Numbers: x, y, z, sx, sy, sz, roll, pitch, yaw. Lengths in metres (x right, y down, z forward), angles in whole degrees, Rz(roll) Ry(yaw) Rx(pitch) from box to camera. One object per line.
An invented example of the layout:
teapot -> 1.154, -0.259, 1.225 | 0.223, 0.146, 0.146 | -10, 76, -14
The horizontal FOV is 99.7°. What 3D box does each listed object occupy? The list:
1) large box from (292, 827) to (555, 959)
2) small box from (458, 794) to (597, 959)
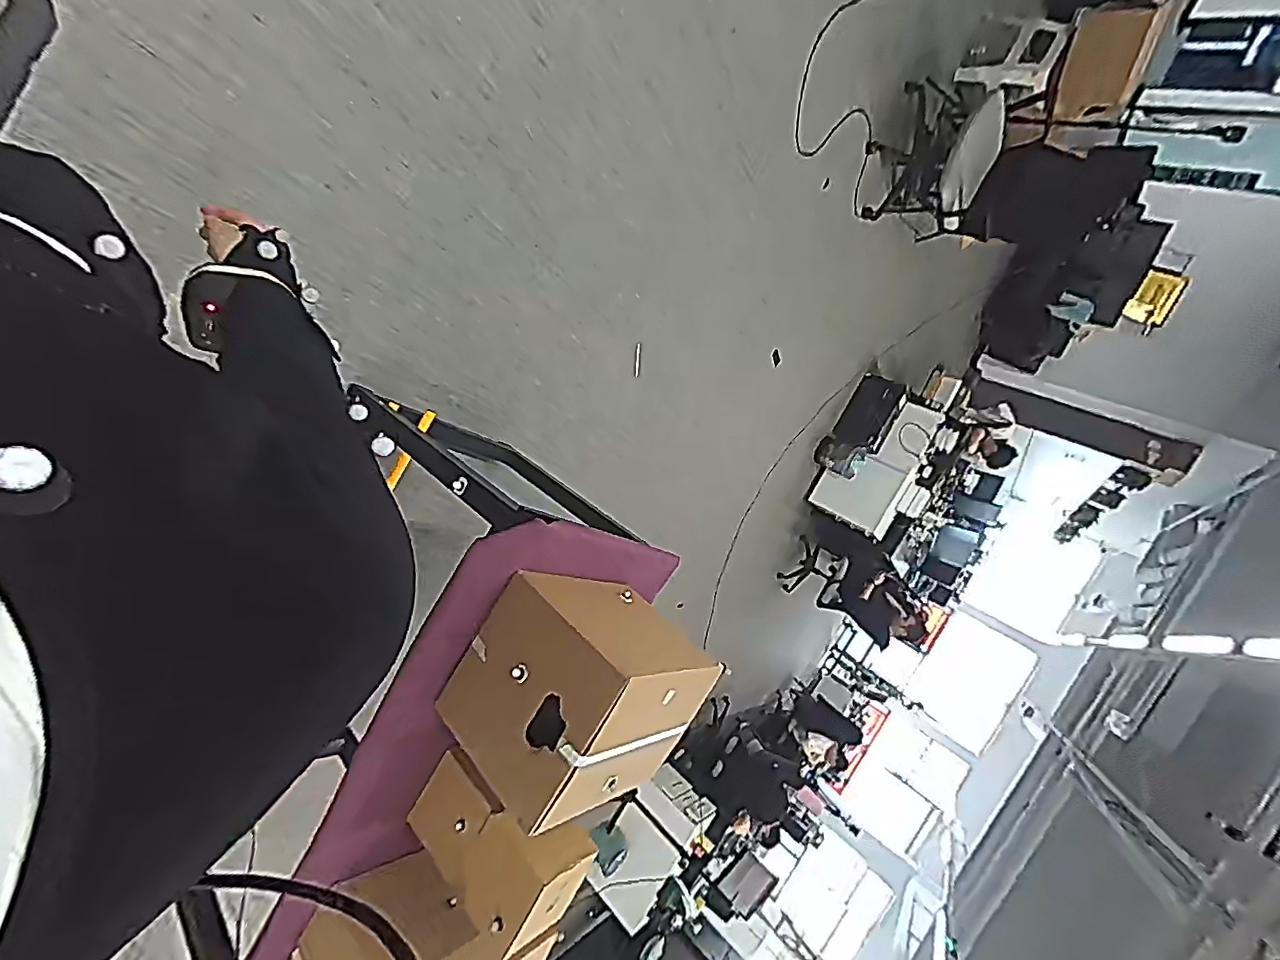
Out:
large box -> -0.465, 1.016, 1.116 | 0.320, 0.320, 0.408 | -60, 149, 3
small box -> -0.223, 0.760, 1.050 | 0.168, 0.176, 0.179 | 21, 98, -58
